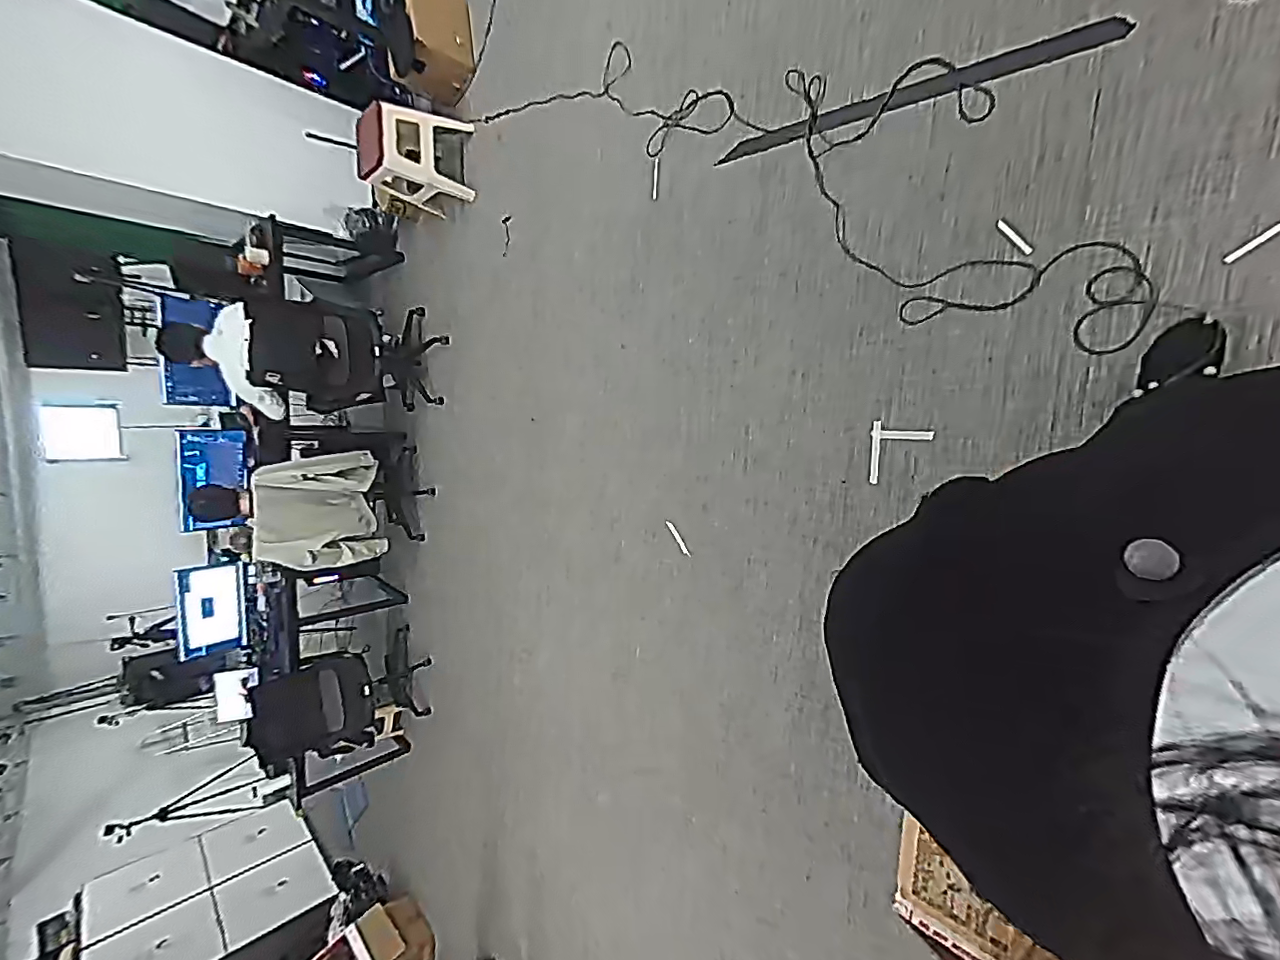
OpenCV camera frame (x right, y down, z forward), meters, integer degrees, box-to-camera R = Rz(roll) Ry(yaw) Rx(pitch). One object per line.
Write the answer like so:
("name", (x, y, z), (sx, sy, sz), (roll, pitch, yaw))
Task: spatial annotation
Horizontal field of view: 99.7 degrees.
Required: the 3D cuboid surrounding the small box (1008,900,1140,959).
("small box", (0.636, 0.778, 0.790), (0.168, 0.176, 0.179), (8, 96, 43))
